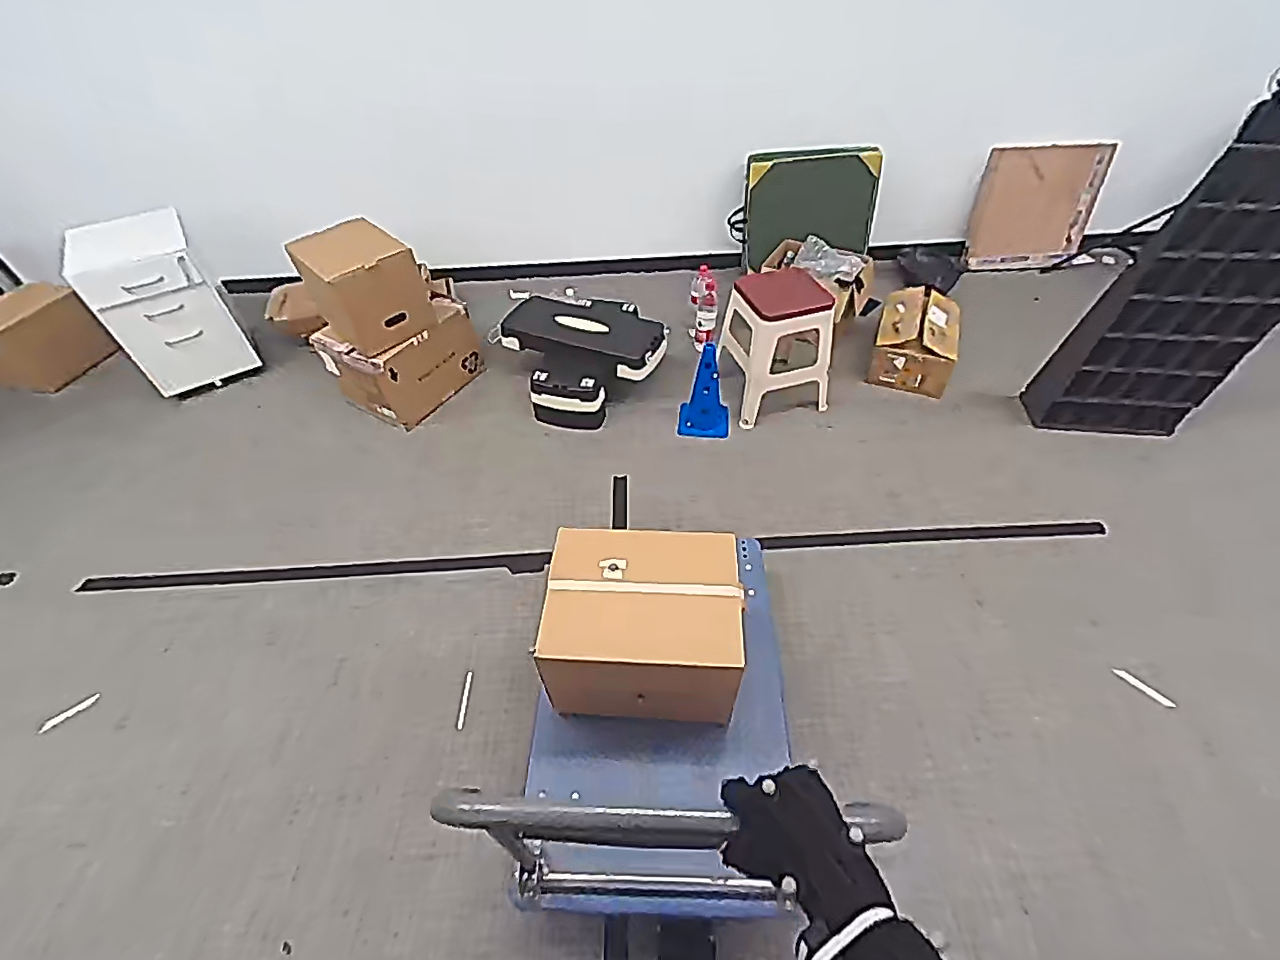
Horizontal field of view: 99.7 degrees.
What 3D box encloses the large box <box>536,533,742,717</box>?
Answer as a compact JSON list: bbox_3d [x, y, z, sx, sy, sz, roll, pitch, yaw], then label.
[{"bbox_3d":[0.011,0.336,1.243,0.408,0.320,0.320,1,47,4],"label":"large box"}]
